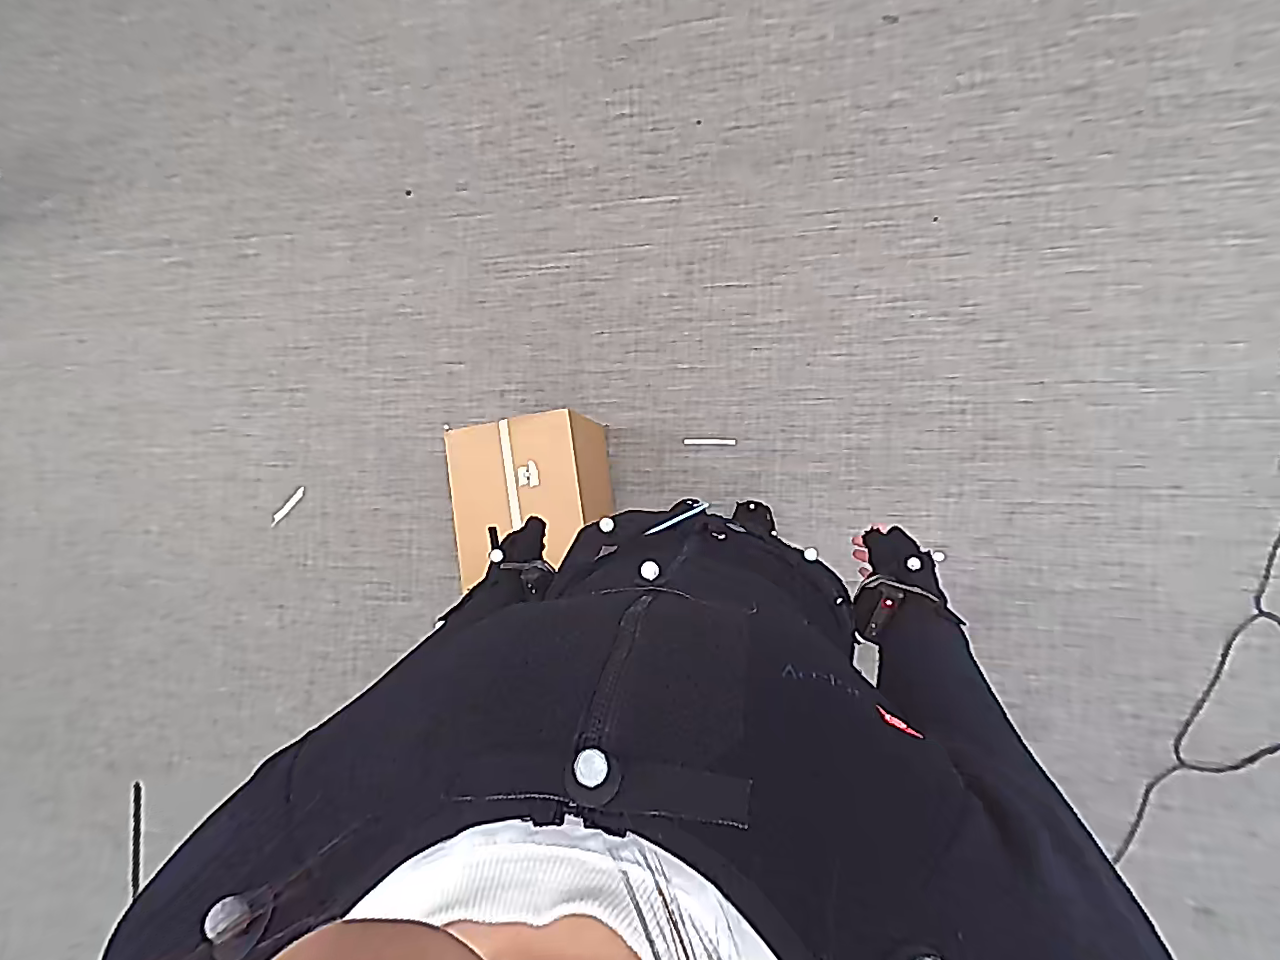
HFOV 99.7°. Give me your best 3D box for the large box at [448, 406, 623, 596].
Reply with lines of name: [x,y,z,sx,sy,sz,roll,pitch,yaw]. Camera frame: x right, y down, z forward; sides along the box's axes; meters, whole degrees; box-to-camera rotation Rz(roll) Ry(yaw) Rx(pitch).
large box: [-0.250,0.058,1.384,0.320,0.320,0.408,-9,86,10]
